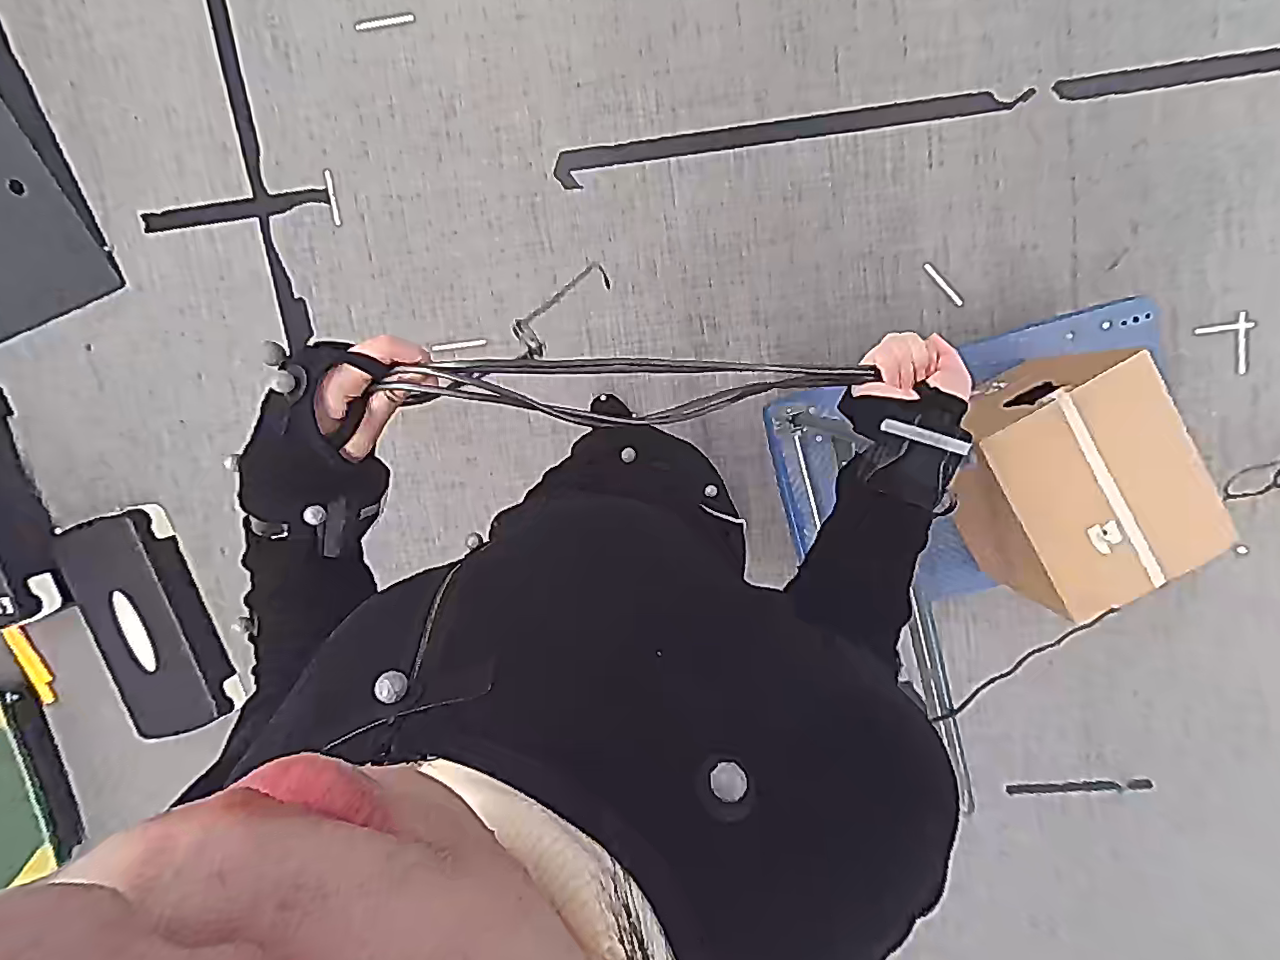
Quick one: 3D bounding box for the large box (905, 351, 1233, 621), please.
[{"bbox_3d":[0.831,-0.005,1.105,0.320,0.320,0.408,-31,97,8],"label":"large box"}]
